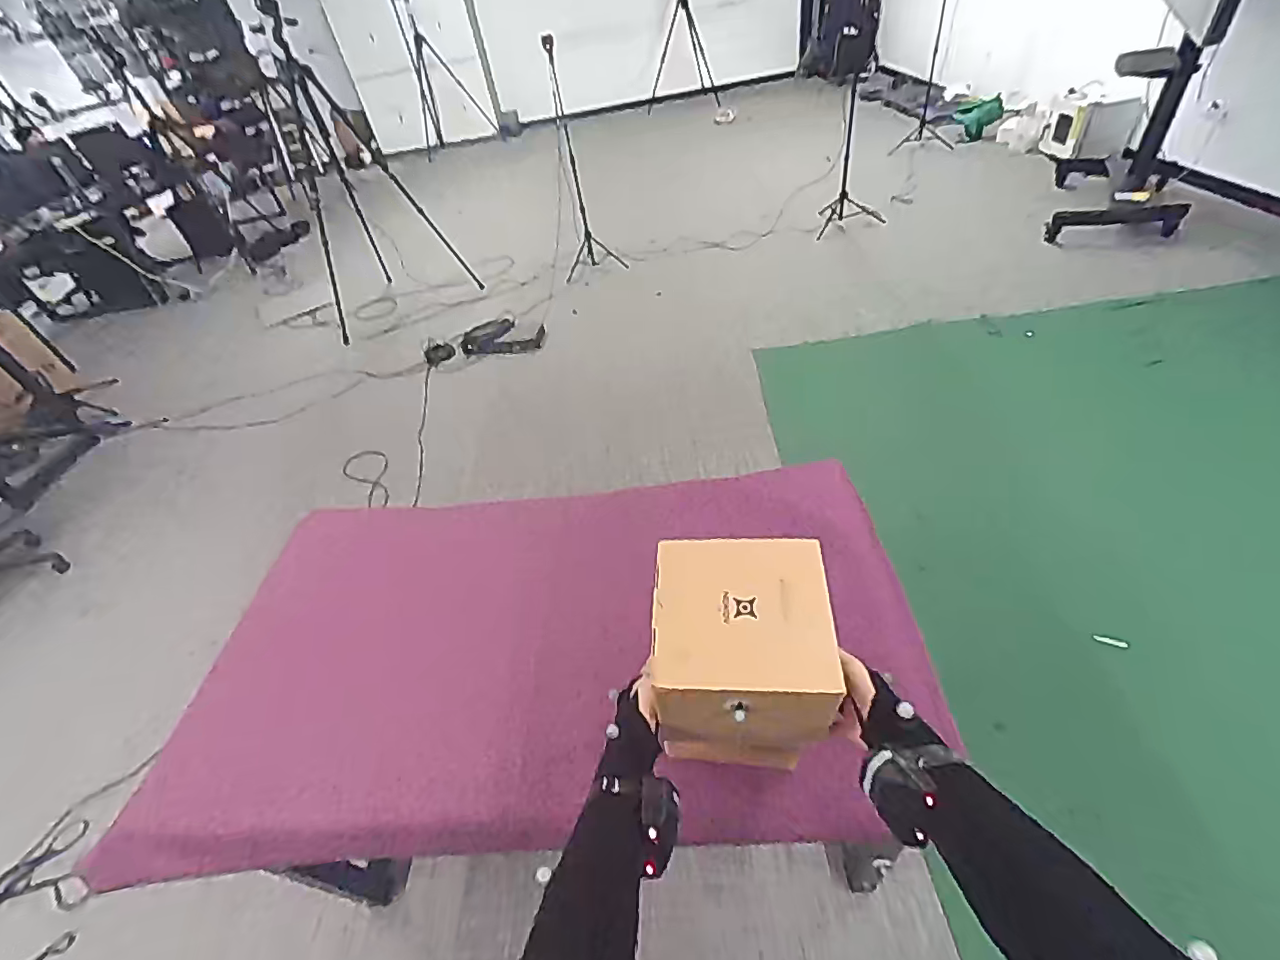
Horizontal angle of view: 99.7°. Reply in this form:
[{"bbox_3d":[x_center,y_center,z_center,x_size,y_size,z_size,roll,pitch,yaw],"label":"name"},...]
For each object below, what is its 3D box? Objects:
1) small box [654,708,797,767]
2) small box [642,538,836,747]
[{"bbox_3d":[0.124,0.271,0.732,0.179,0.176,0.168,1,46,11],"label":"small box"},{"bbox_3d":[0.104,0.179,0.593,0.179,0.176,0.168,-1,47,8],"label":"small box"}]
